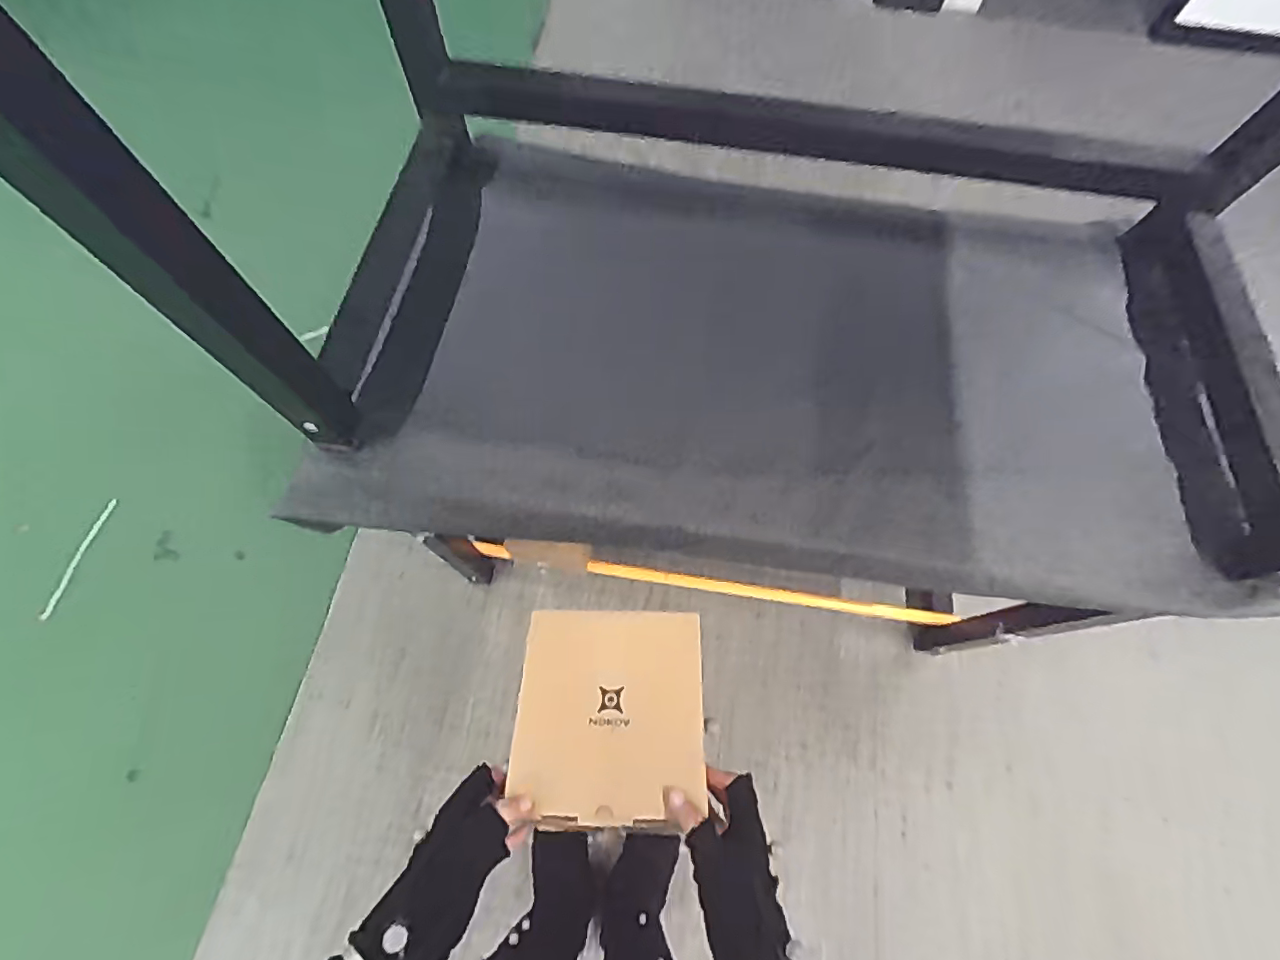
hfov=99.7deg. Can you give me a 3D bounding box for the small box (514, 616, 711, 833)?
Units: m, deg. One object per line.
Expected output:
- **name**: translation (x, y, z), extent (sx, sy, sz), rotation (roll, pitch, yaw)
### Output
- **small box**: translation (-0.019, 0.254, 0.554), extent (0.168, 0.176, 0.179), rotation (0, 56, 2)
